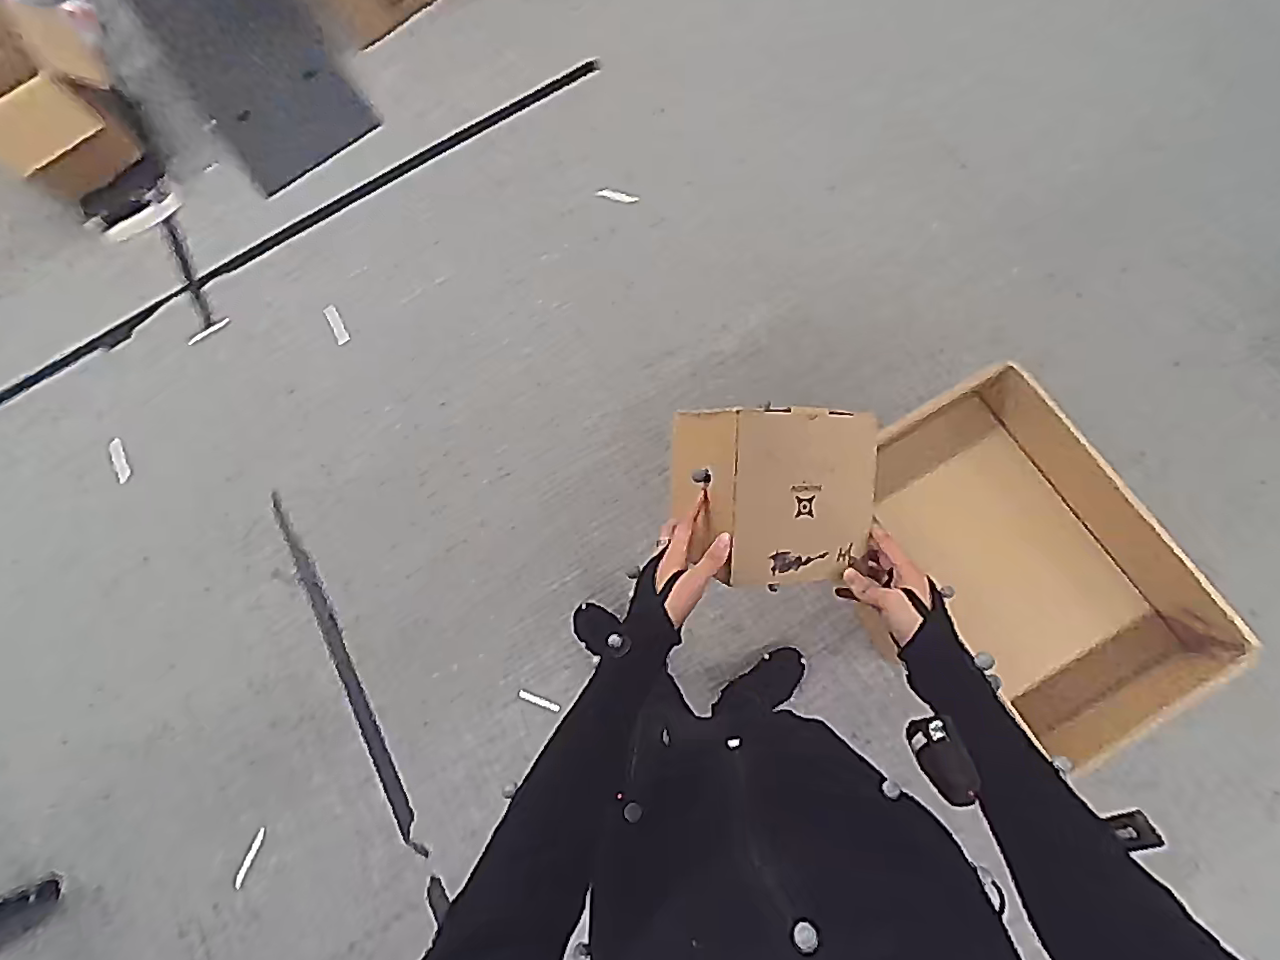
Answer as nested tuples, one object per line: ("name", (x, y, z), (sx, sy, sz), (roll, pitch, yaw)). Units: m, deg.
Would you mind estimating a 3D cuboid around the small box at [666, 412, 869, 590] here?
("small box", (0.135, 0.015, 0.623), (0.168, 0.176, 0.179), (-1, 96, -18))
